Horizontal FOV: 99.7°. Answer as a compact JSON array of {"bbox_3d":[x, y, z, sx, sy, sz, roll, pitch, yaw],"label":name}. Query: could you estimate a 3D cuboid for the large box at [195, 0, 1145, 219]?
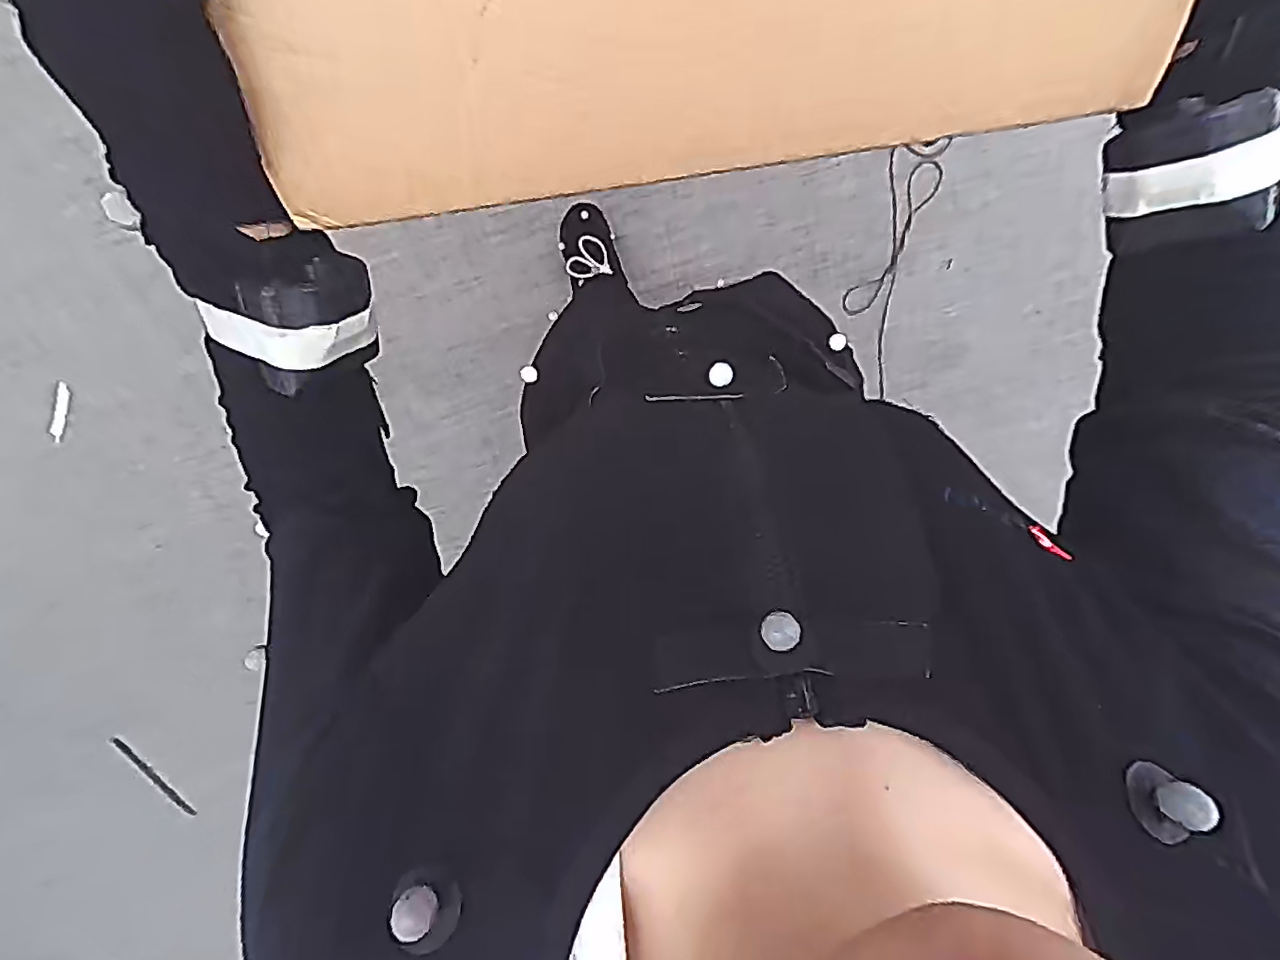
[{"bbox_3d":[0.002,-0.368,0.266,0.408,0.320,0.320,-9,133,-1],"label":"large box"}]
